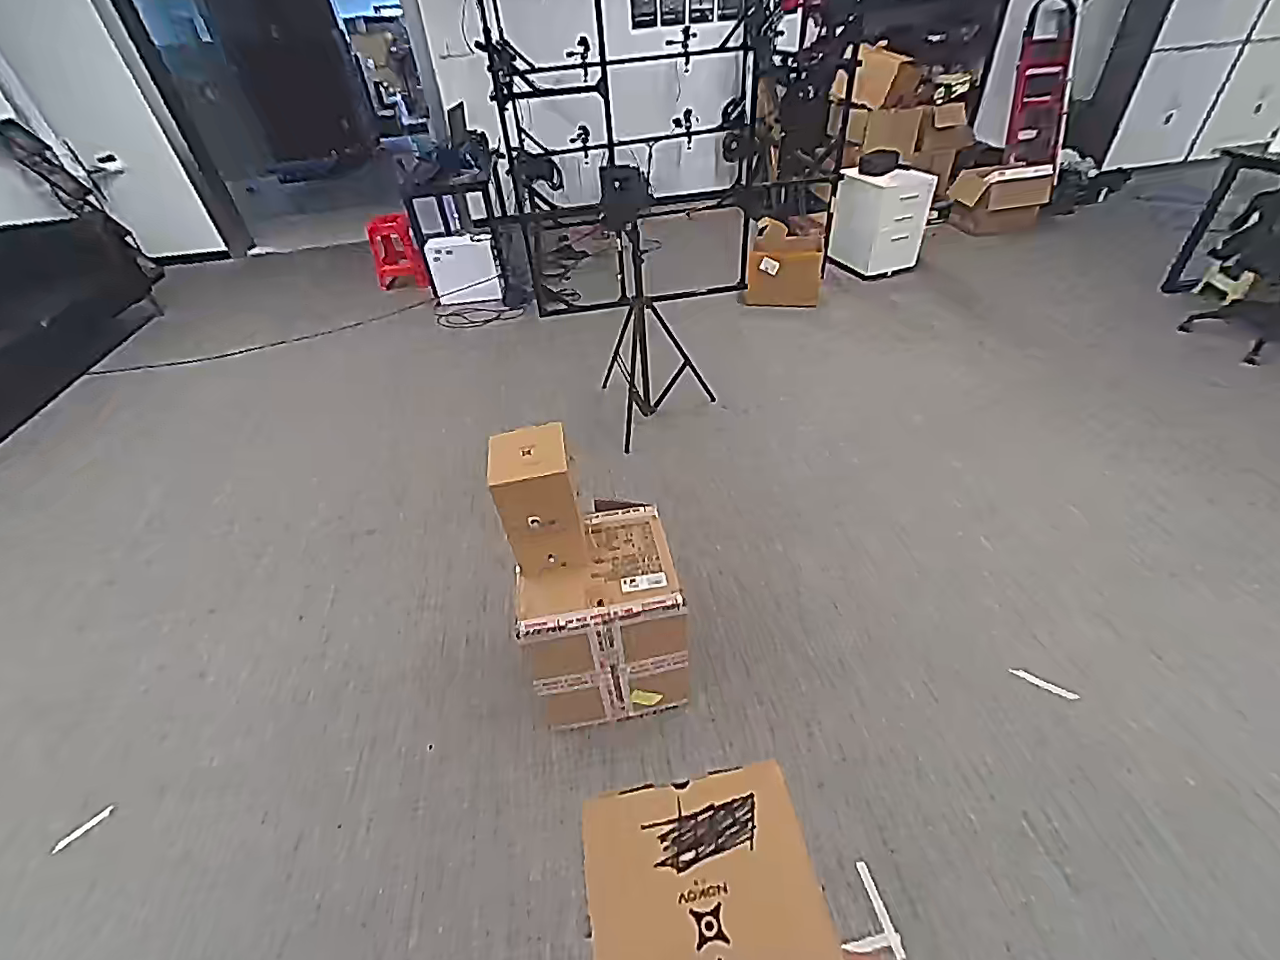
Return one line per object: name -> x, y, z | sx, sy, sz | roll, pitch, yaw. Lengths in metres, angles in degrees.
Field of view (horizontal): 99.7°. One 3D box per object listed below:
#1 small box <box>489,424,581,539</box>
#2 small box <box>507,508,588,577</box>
small box -> -0.231, 0.003, 1.206 | 0.168, 0.176, 0.179 | -12, 44, -4
small box -> -0.226, 0.110, 1.331 | 0.168, 0.176, 0.179 | -11, 43, -4
